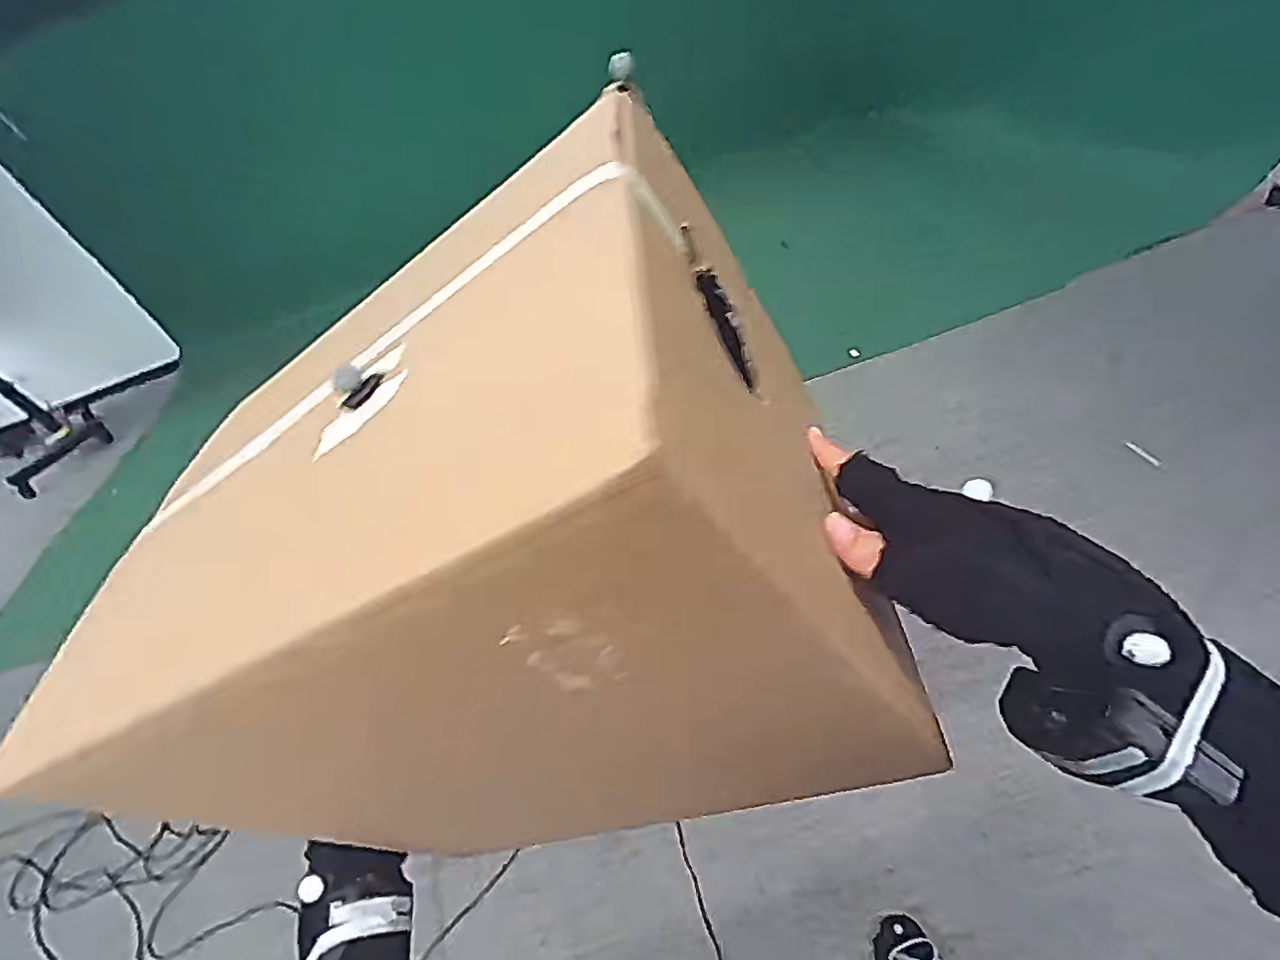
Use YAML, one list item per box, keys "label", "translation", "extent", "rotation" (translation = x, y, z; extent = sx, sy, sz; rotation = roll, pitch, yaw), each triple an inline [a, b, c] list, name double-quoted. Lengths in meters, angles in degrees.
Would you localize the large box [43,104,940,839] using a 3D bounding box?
- label: "large box"
  translation: [-0.072, 0.039, 0.401]
  extent: [0.408, 0.320, 0.320]
  rotation: [-26, 44, 23]
